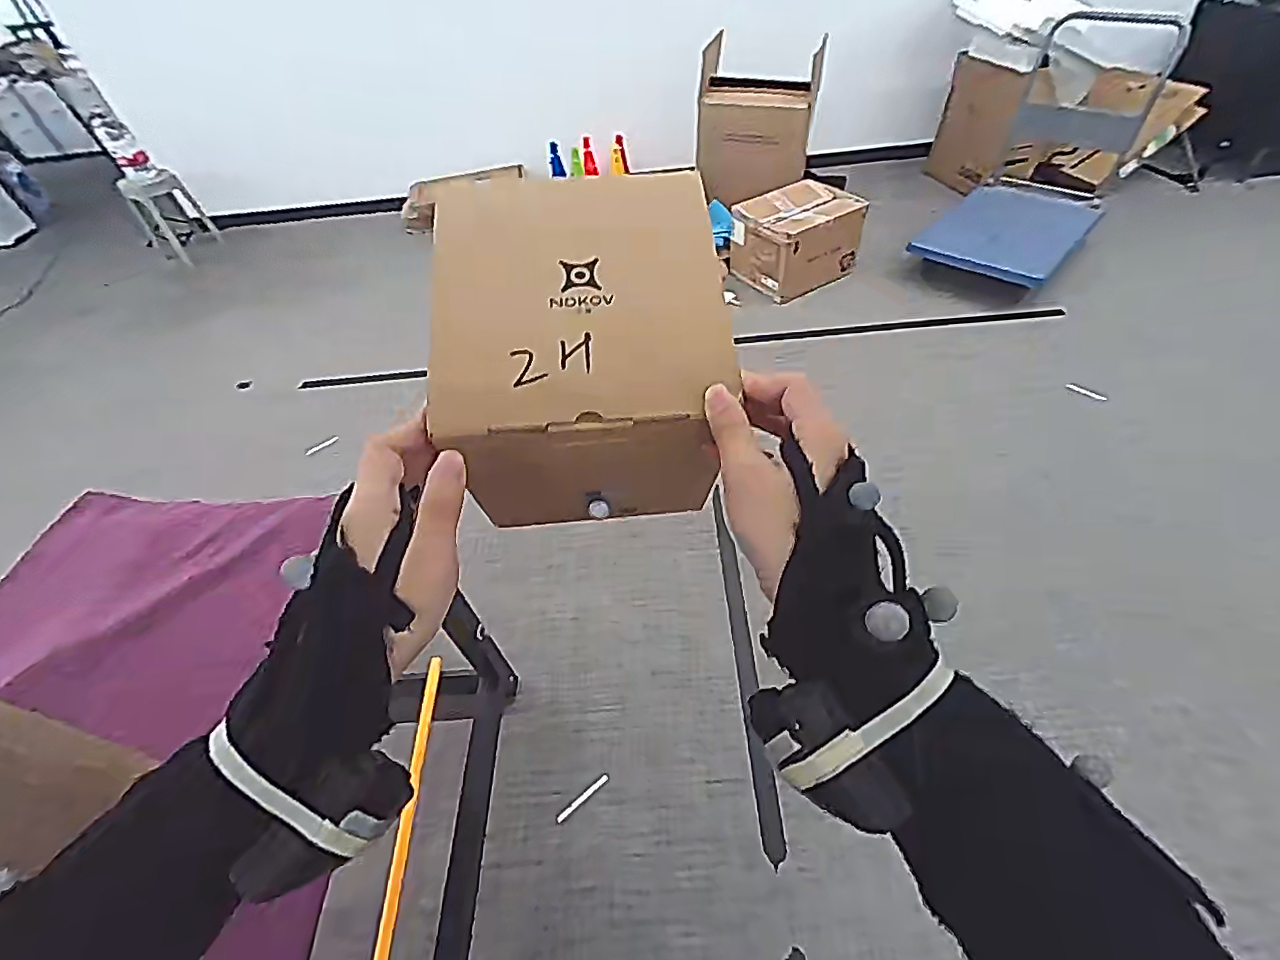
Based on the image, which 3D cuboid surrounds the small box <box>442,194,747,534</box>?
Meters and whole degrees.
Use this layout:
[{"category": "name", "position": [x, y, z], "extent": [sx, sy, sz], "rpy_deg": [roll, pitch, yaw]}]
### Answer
[{"category": "small box", "position": [-0.033, -0.073, 0.392], "extent": [0.168, 0.176, 0.179], "rpy_deg": [-5, 69, -3]}]
